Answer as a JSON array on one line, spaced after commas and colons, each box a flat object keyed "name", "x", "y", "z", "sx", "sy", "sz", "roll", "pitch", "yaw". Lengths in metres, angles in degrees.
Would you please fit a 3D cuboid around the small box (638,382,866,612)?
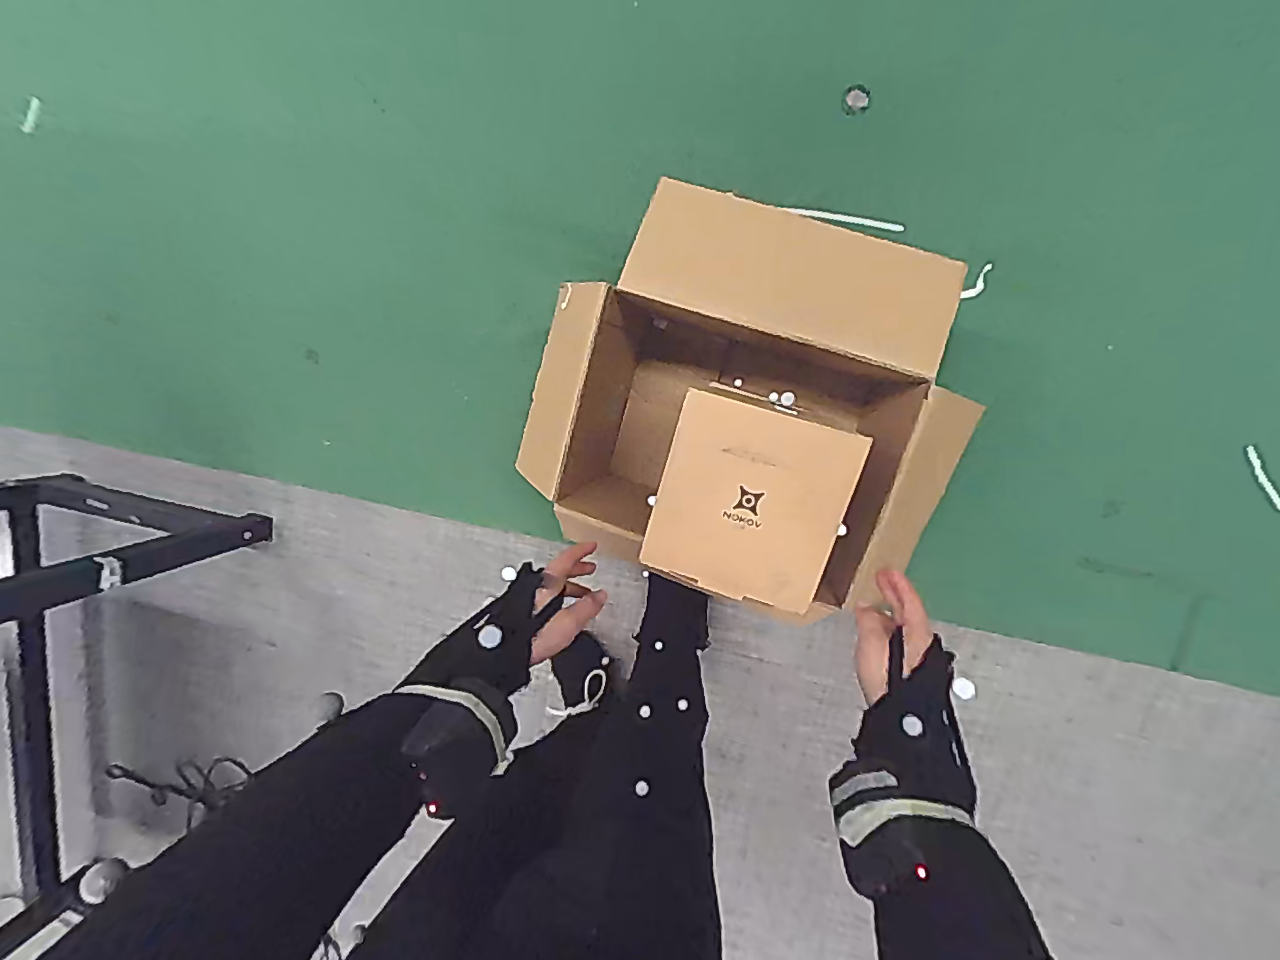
[{"name": "small box", "x": 0.111, "y": 0.004, "z": 0.565, "sx": 0.168, "sy": 0.176, "sz": 0.179, "roll": 17, "pitch": 102, "yaw": 8}]
